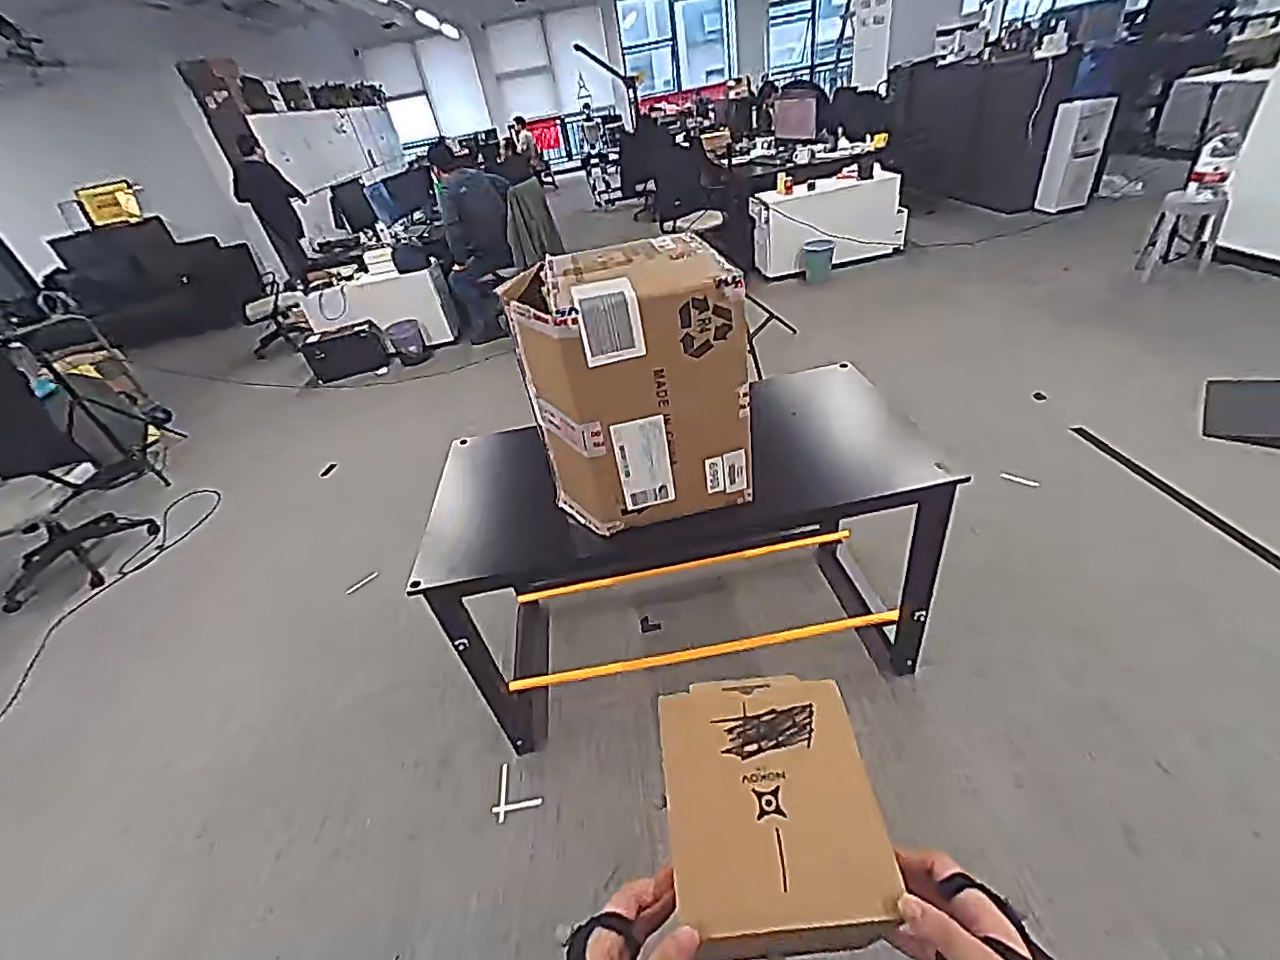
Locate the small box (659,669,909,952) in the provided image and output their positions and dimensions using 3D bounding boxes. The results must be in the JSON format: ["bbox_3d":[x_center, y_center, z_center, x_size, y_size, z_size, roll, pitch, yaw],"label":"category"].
[{"bbox_3d":[0.109,0.300,0.494,0.168,0.176,0.179,-7,44,0],"label":"small box"}]
